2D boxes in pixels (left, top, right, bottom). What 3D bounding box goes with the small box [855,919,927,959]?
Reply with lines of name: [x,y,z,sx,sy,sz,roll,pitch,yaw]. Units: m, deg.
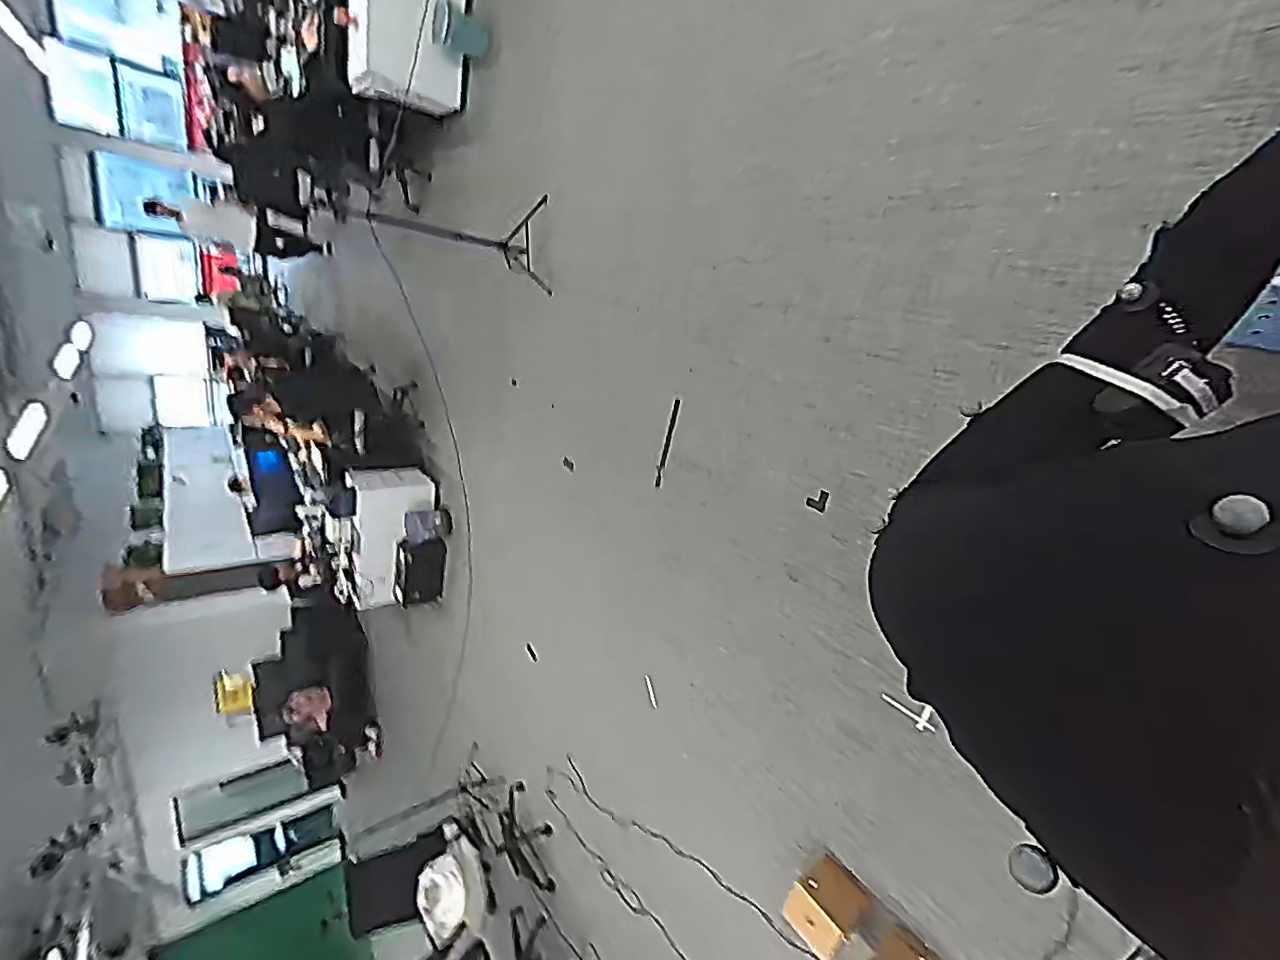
small box: [0.722,1.452,1.577,0.168,0.176,0.179,32,117,42]

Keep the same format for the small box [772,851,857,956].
small box: [0.567,1.360,1.750,0.179,0.176,0.168,35,120,43]
